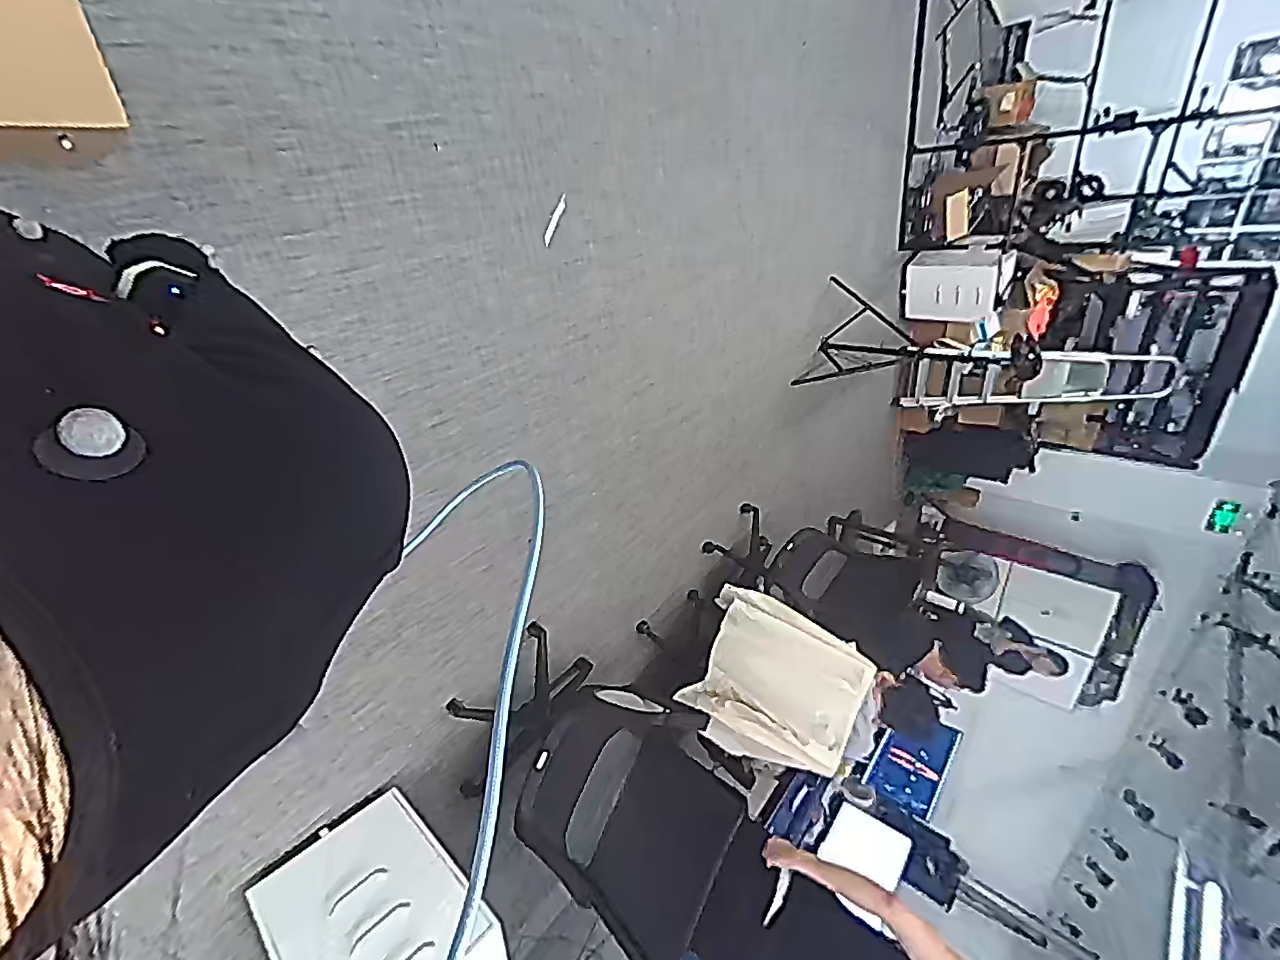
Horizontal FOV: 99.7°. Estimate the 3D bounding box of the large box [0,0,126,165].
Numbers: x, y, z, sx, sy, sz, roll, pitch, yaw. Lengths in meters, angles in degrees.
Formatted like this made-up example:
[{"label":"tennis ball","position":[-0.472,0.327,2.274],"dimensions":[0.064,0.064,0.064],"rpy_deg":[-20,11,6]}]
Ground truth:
[{"label":"large box","position":[-0.968,-0.568,0.651],"dimensions":[0.408,0.320,0.320],"rpy_deg":[-31,125,-40]}]
